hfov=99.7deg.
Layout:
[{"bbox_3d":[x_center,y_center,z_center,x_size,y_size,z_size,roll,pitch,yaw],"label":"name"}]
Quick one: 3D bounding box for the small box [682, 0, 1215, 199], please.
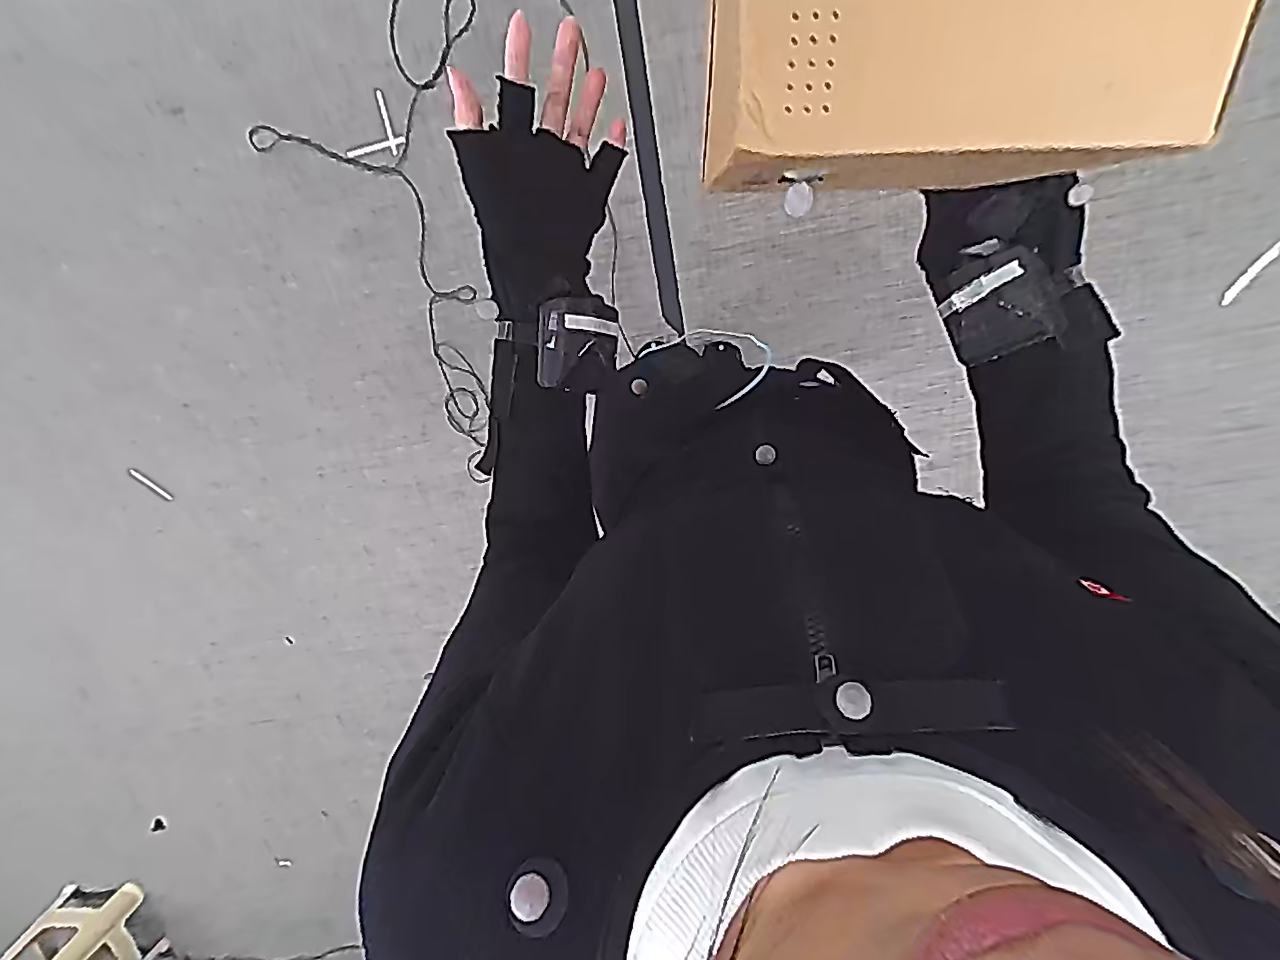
[{"bbox_3d":[0.108,-0.231,0.238,0.176,0.168,0.179,0,113,4],"label":"small box"}]
